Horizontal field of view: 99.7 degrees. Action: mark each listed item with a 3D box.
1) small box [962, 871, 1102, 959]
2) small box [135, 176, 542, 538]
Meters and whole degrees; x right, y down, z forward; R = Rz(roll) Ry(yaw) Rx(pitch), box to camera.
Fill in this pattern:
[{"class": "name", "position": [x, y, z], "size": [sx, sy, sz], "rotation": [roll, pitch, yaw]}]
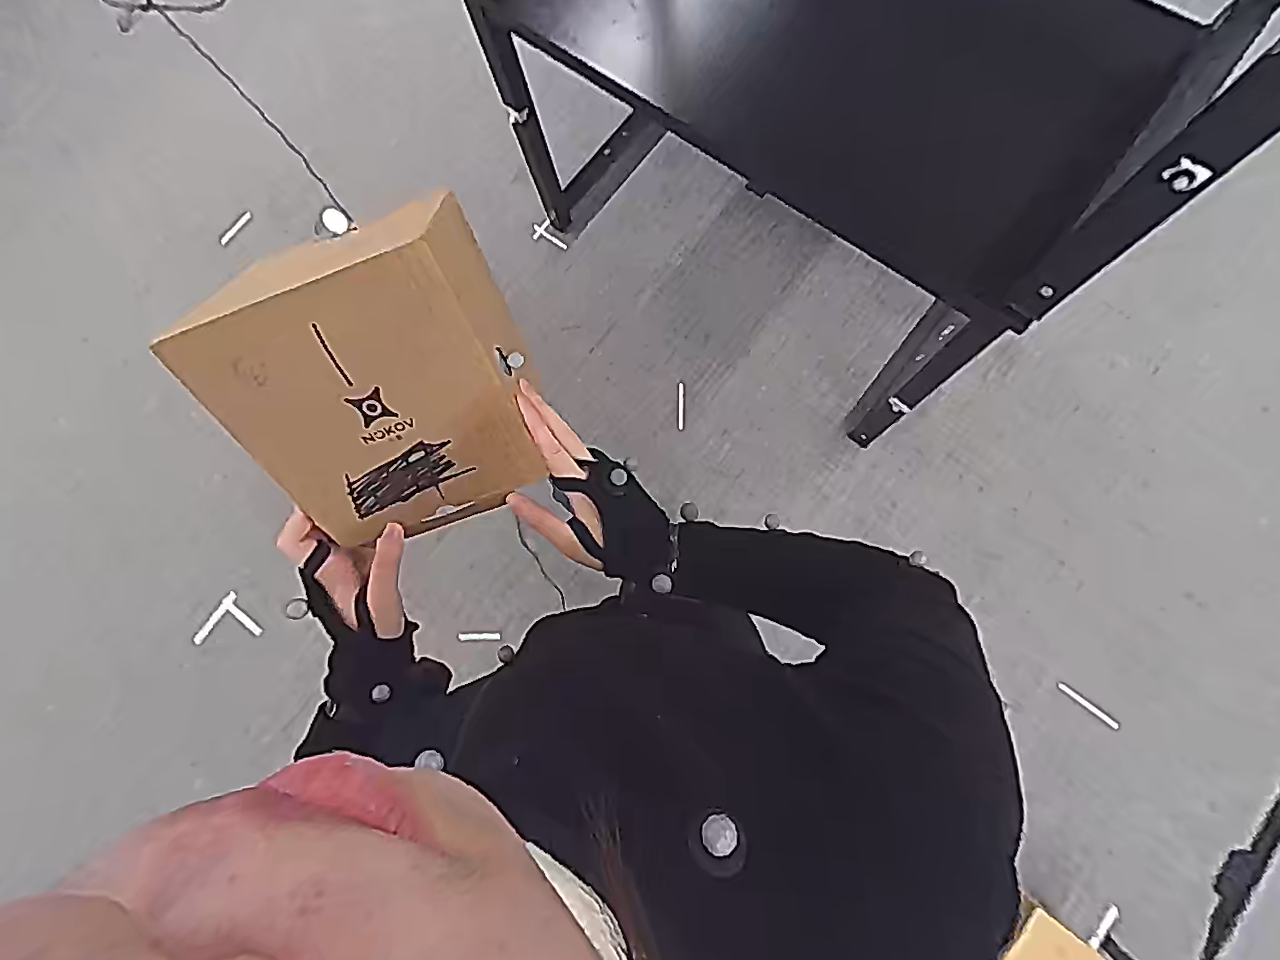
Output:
[{"class": "small box", "position": [0.840, 1.014, 1.172], "size": [0.168, 0.176, 0.179], "rotation": [37, 84, 11]}, {"class": "small box", "position": [-0.181, -0.094, 0.396], "size": [0.168, 0.179, 0.176], "rotation": [-20, 38, 2]}]
